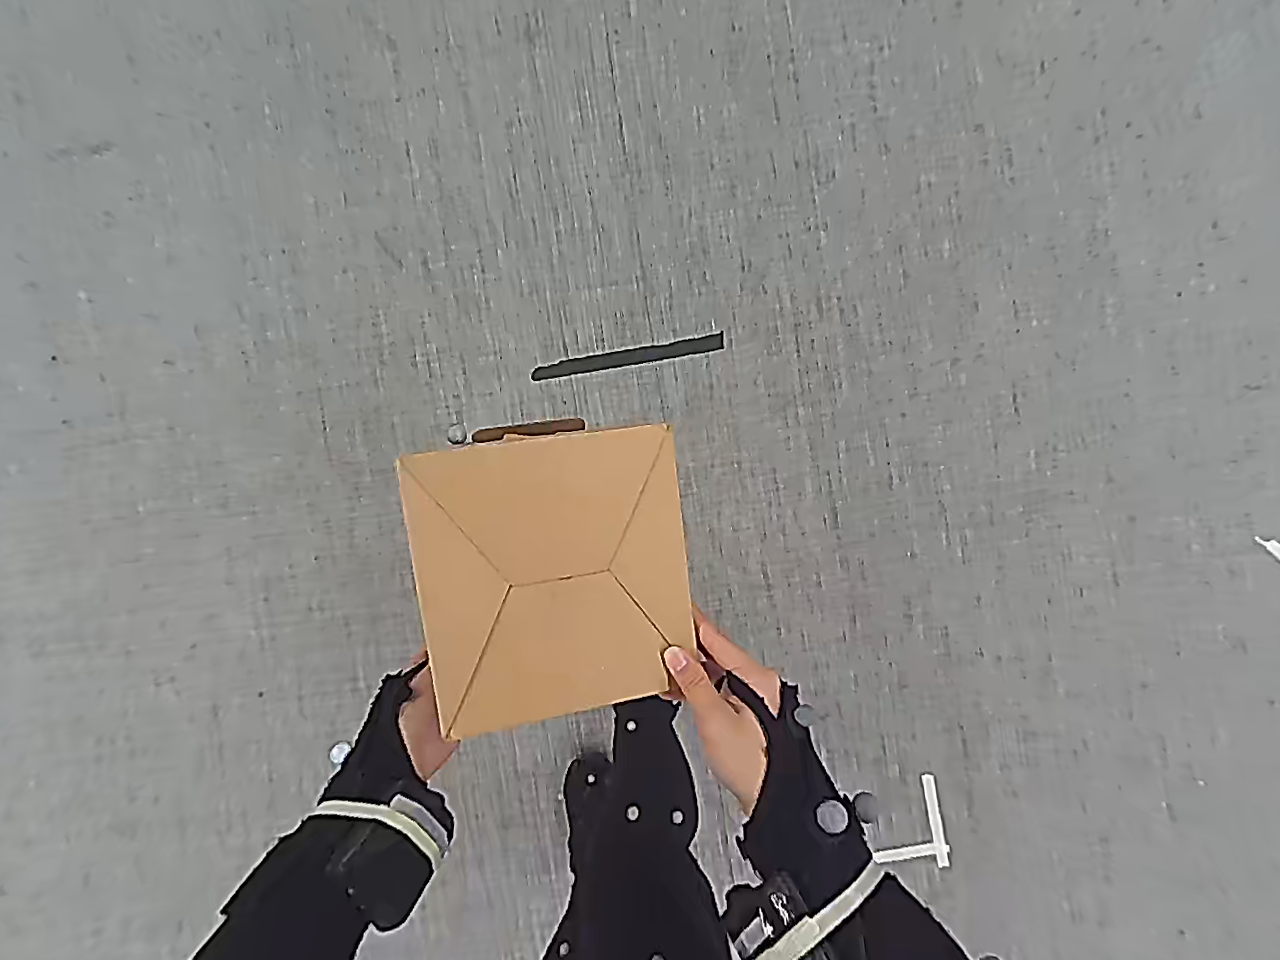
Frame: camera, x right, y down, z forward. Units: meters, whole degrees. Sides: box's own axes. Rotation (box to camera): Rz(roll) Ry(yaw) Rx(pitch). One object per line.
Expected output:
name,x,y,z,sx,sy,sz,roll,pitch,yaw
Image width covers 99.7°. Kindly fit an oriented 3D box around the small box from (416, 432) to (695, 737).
small box,-0.066,0.058,0.416,0.168,0.176,0.179,-8,95,-13
